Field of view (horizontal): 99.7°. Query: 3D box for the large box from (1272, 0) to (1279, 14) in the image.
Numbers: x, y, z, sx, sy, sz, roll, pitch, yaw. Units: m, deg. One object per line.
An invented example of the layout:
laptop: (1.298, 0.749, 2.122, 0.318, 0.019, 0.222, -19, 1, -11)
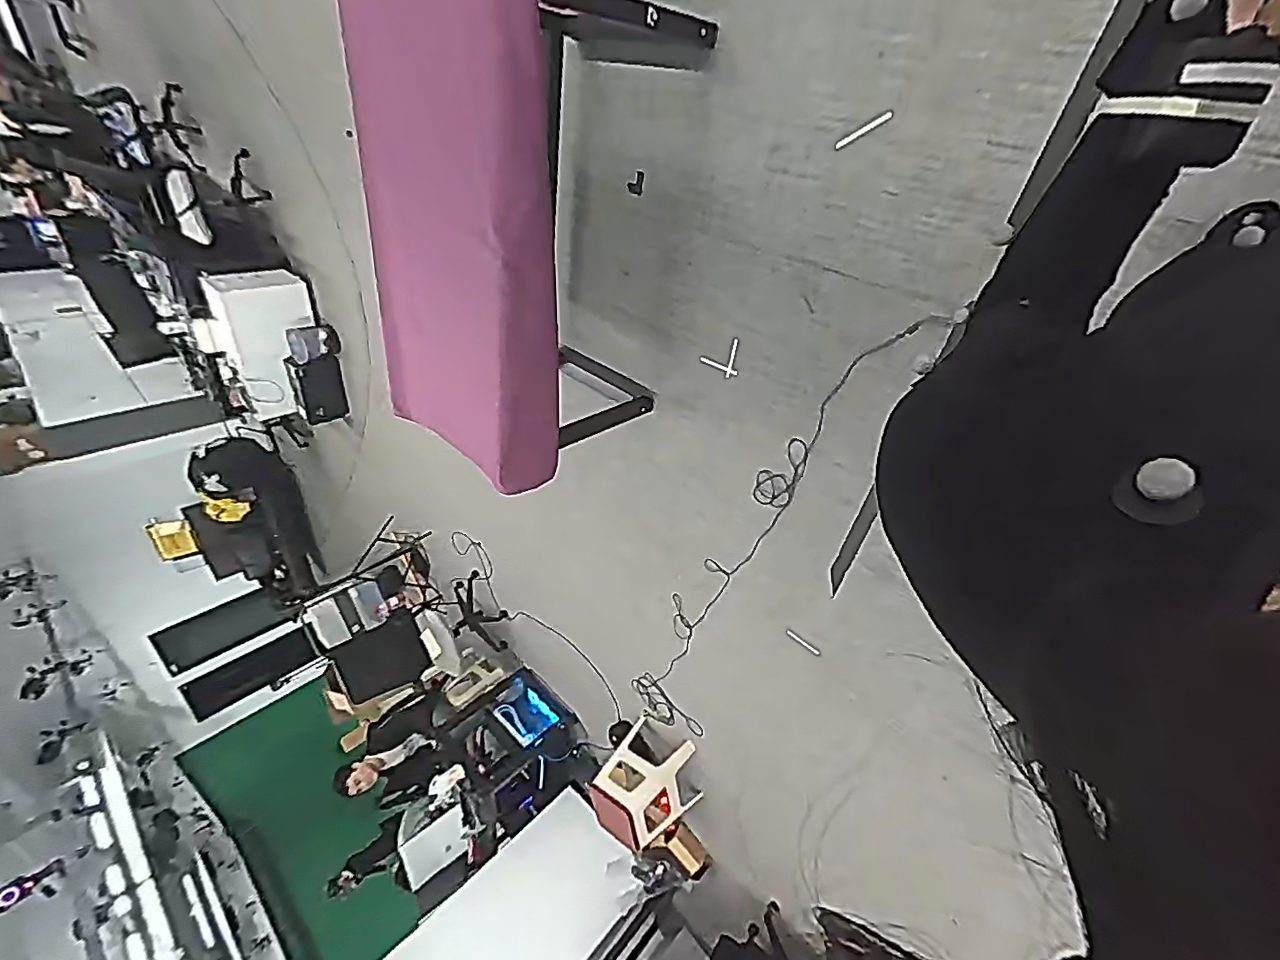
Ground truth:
large box: (0.616, -0.405, 0.204, 0.408, 0.320, 0.320, 29, 138, 39)
